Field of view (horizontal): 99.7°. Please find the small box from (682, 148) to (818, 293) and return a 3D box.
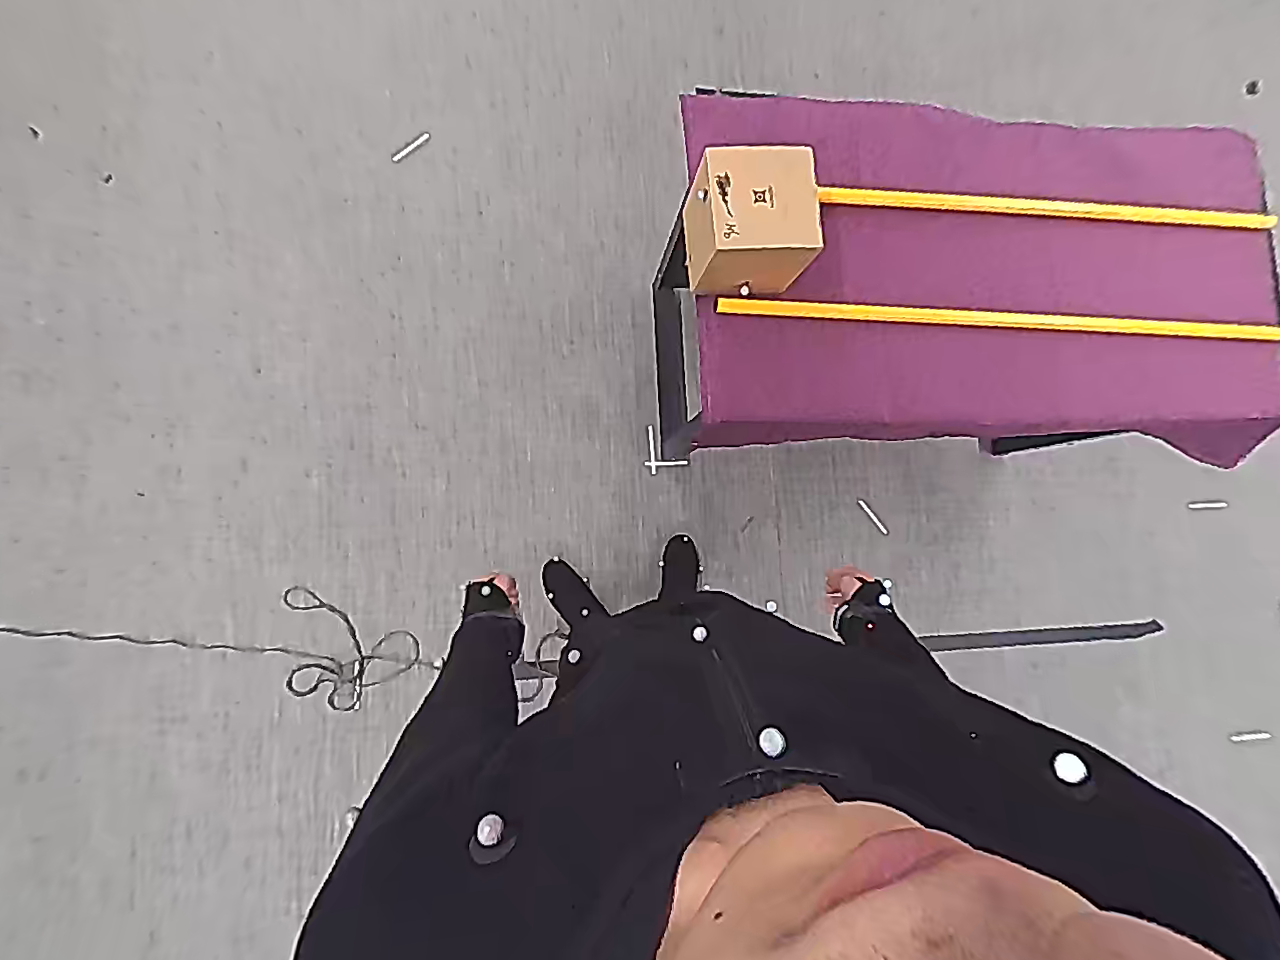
[{"bbox_3d":[0.180,-0.432,0.923,0.179,0.176,0.168,-4,86,-8],"label":"small box"}]
